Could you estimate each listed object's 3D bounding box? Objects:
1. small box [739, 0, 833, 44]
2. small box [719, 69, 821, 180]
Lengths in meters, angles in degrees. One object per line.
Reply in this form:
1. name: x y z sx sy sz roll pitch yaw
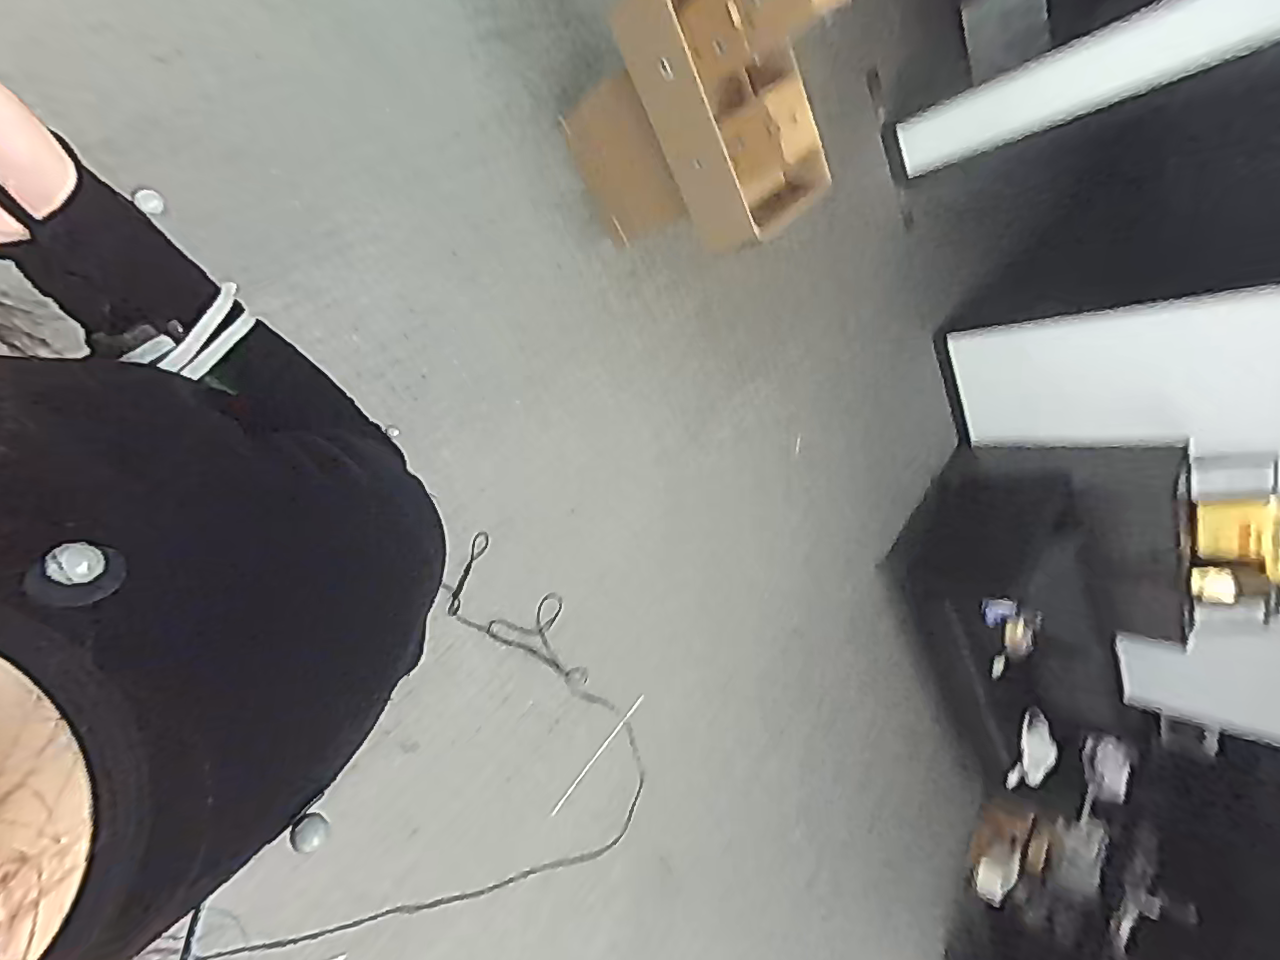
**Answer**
1. small box: 0.332 -1.118 1.197 0.179 0.176 0.168 -44 119 -27
2. small box: 0.341 -0.933 1.430 0.179 0.176 0.168 -45 118 -26
